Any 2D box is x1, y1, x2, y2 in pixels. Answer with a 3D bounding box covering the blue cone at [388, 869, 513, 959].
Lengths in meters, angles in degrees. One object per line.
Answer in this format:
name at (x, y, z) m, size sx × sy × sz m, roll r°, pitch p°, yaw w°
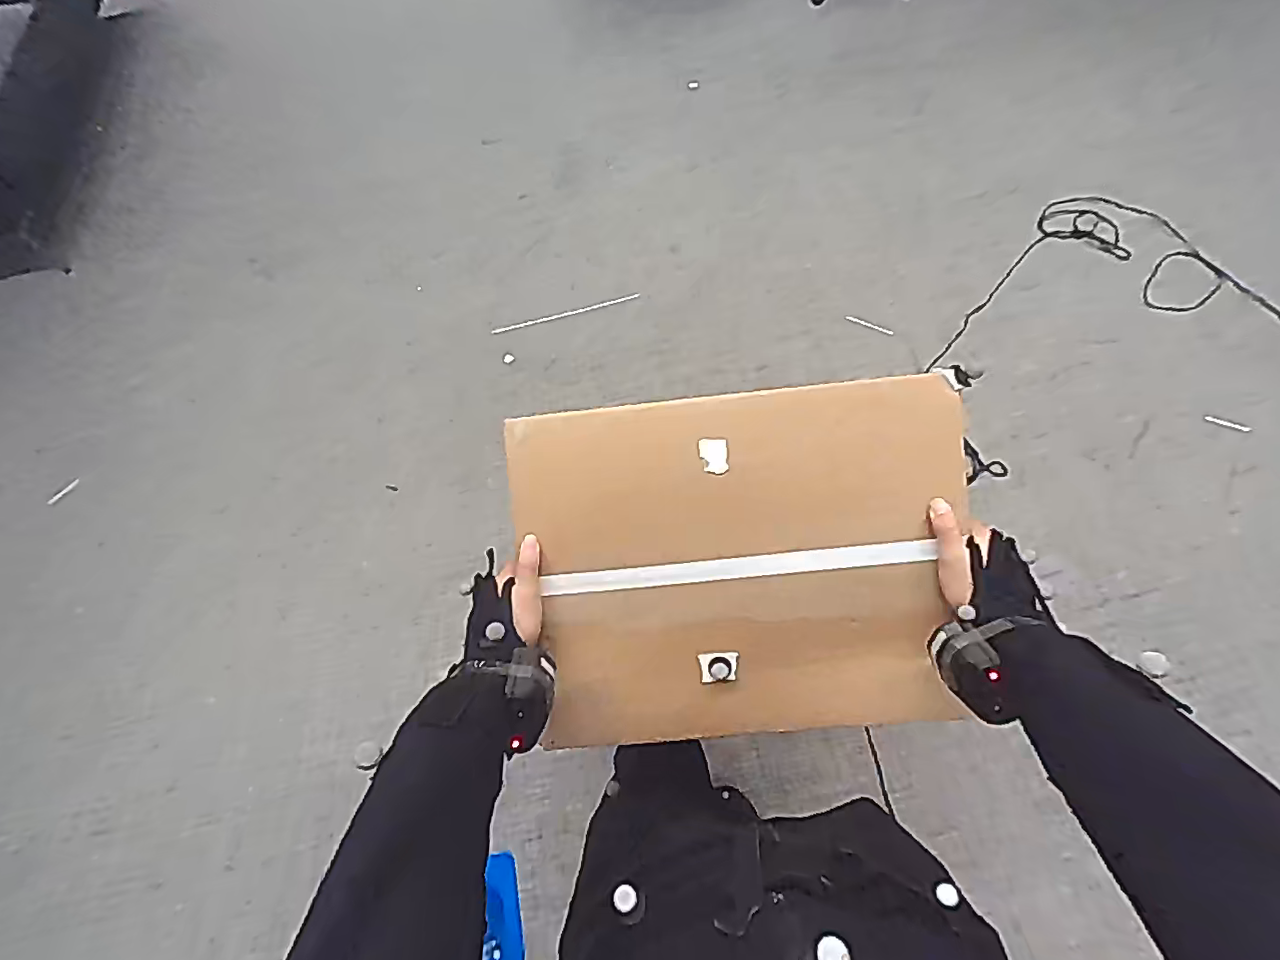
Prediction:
blue cone at (-0.359, 0.799, 0.893) m, size 0.192 × 0.380 × 0.193 m, roll -13°, pitch 63°, yaw 0°
